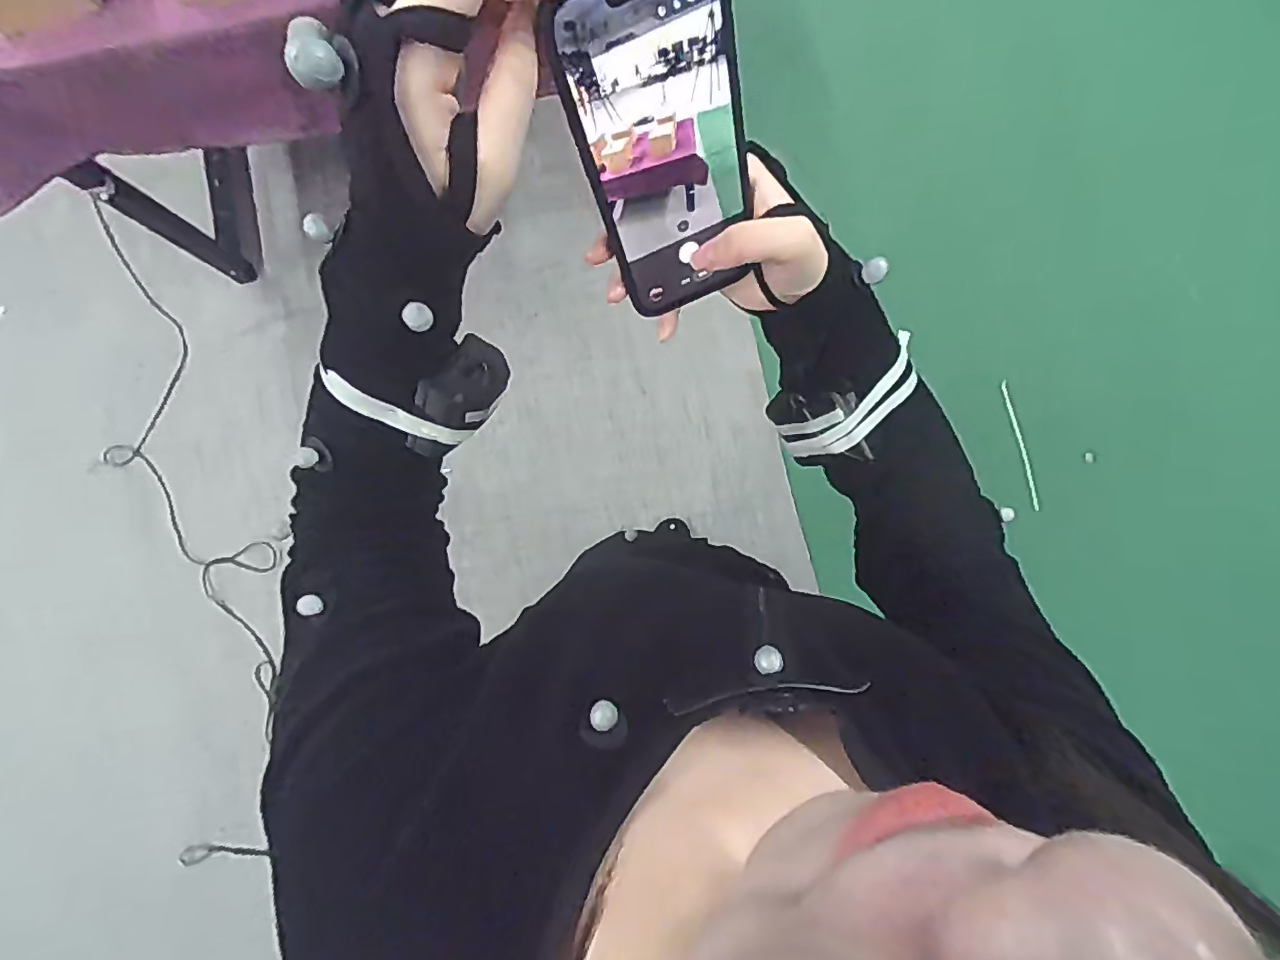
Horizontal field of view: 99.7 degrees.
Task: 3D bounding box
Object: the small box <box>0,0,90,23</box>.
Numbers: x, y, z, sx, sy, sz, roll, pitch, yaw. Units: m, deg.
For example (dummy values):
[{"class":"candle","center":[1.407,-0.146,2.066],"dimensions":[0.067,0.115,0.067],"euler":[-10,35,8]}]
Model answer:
[{"class":"small box","center":[-0.979,-0.836,0.803],"dimensions":[0.179,0.176,0.168],"euler":[-17,84,-2]}]
